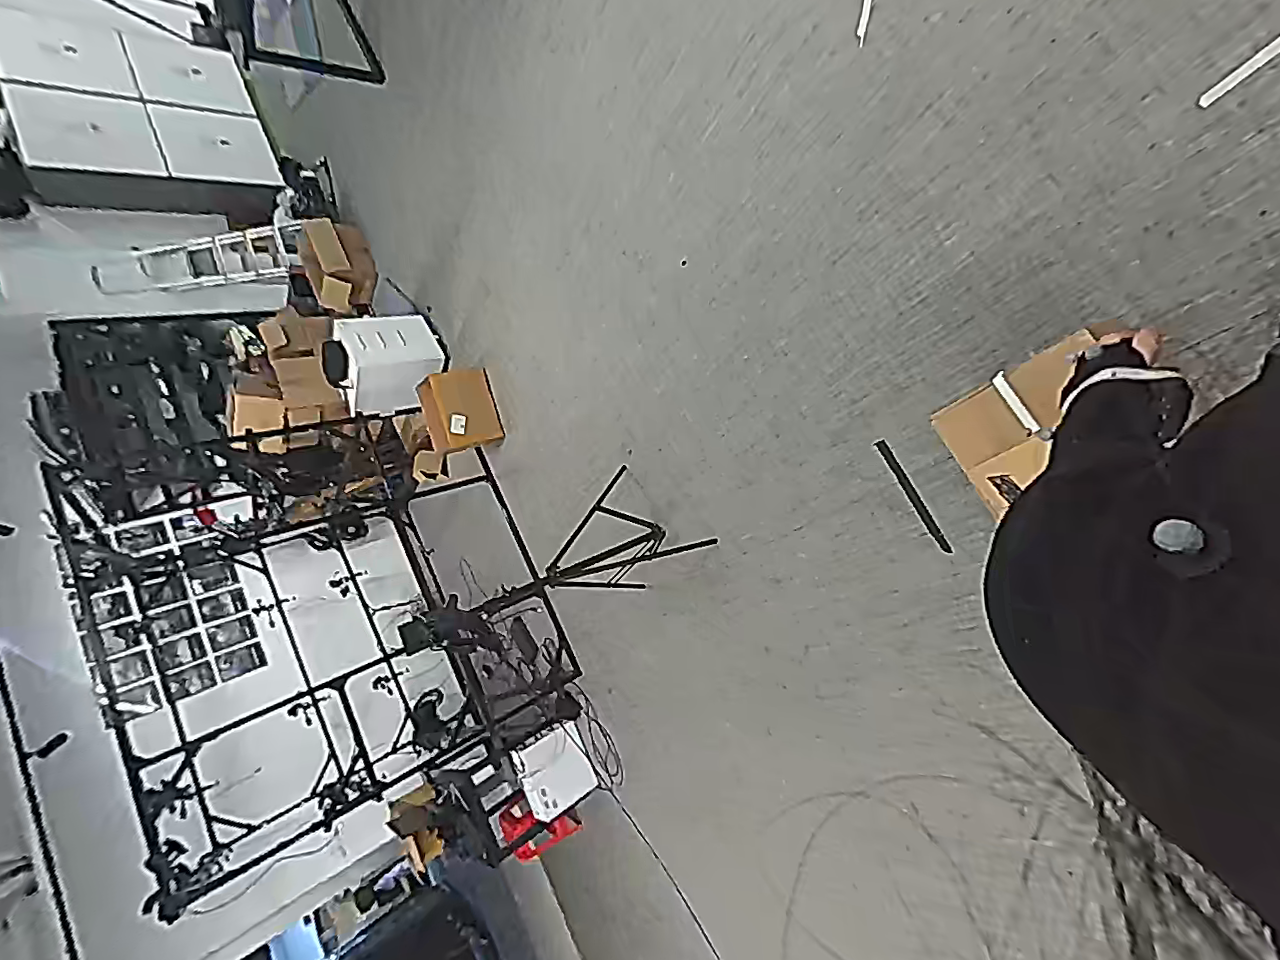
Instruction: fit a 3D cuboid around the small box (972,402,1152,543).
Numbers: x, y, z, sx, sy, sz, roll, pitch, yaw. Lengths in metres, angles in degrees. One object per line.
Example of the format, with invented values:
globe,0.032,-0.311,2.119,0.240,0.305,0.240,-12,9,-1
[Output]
small box,0.733,-0.015,0.941,0.179,0.176,0.168,-43,72,48
